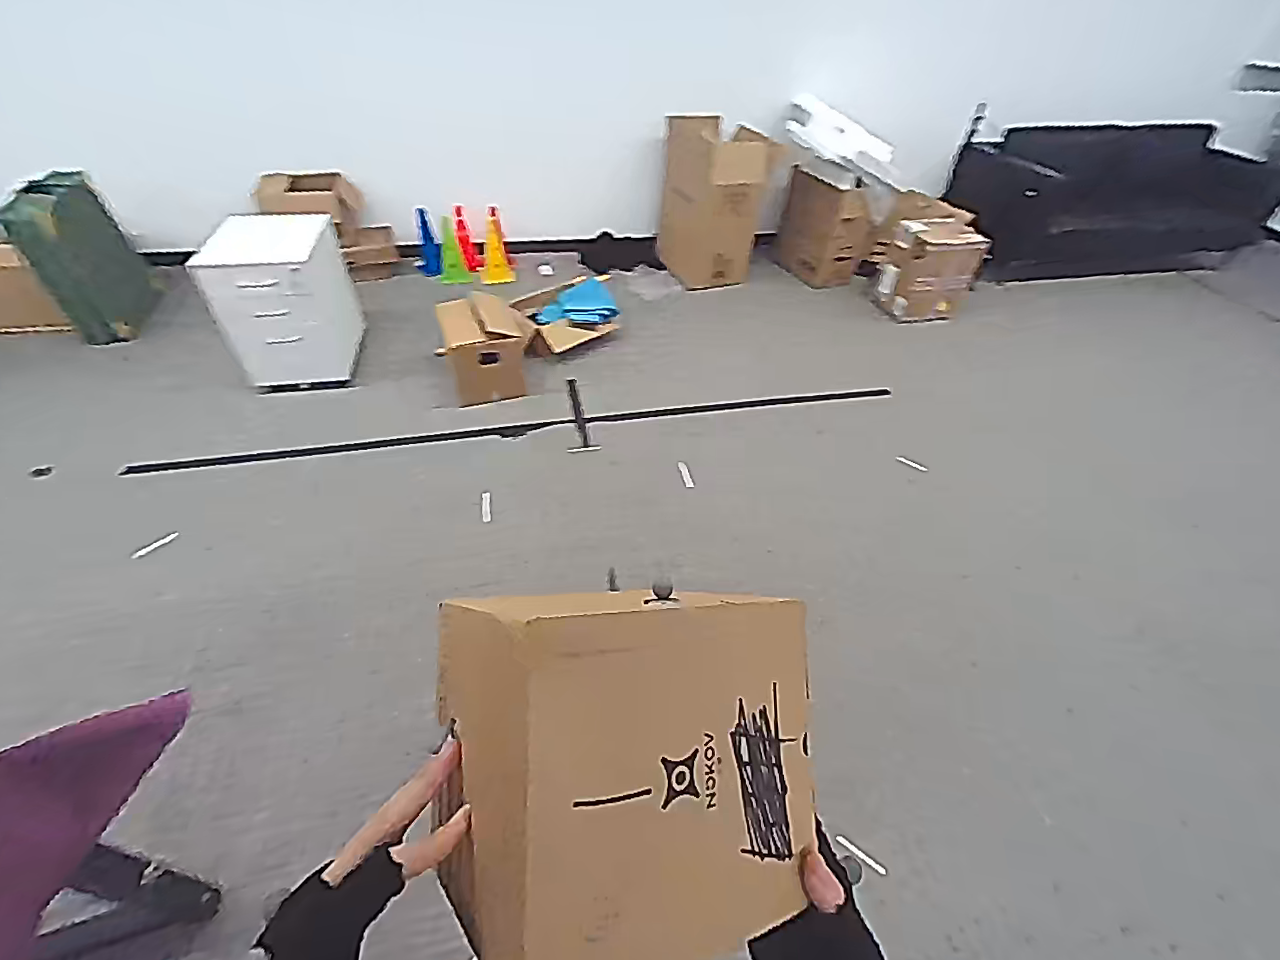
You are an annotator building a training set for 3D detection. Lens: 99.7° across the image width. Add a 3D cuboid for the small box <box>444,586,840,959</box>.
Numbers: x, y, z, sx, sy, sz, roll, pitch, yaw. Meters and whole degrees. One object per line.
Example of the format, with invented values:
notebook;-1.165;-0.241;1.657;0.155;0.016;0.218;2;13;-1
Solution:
small box;-0.007;0.151;0.331;0.179;0.176;0.168;5;78;-31
